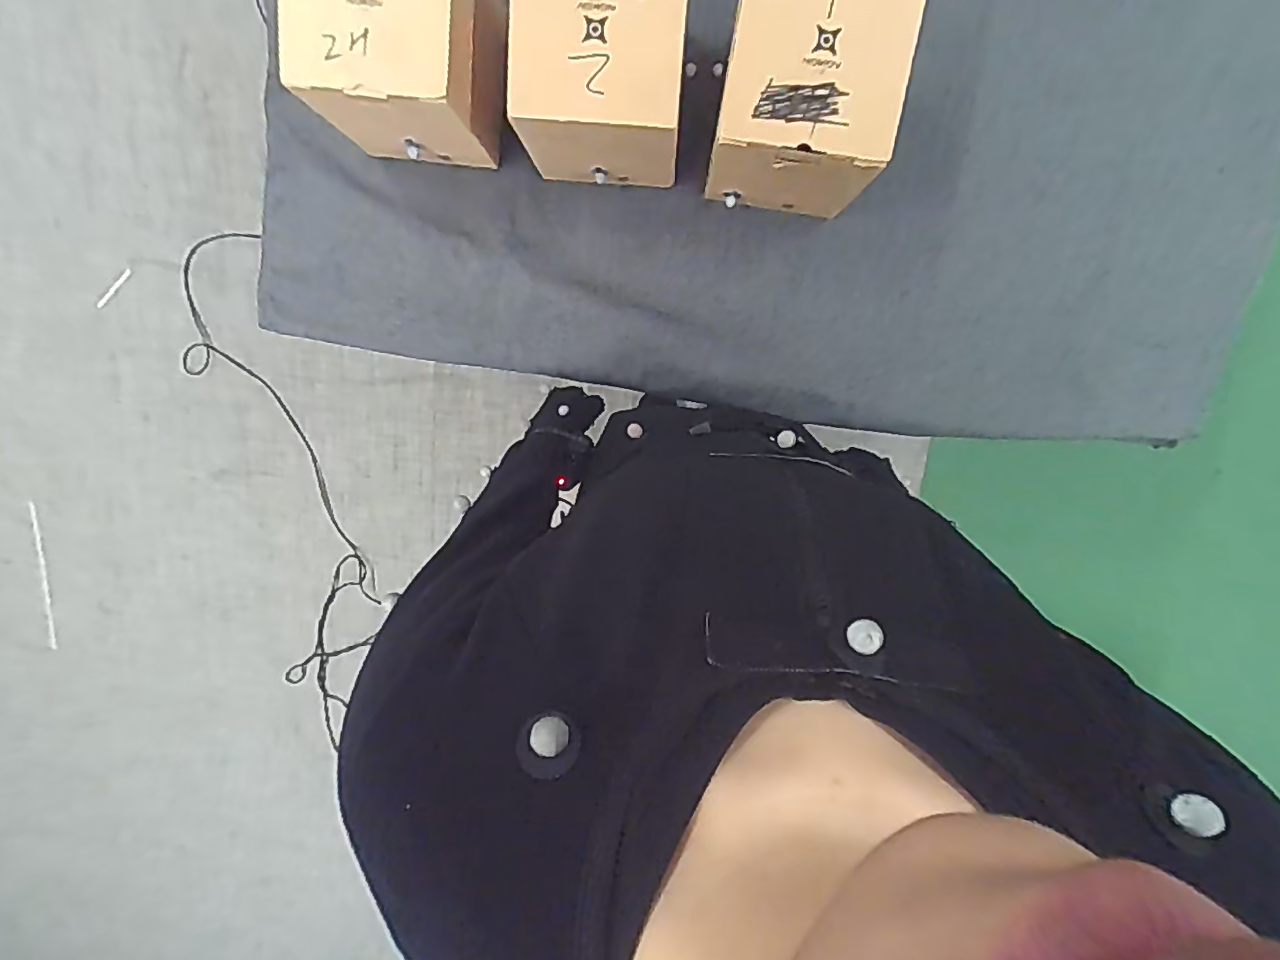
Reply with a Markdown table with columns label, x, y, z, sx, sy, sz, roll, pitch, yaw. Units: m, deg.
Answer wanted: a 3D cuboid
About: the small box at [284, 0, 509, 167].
| label | x | y | z | sx | sy | sz | roll | pitch | yaw |
| --- | --- | --- | --- | --- | --- | --- | --- | --- | --- |
| small box | -0.247 | -0.472 | 0.583 | 0.168 | 0.176 | 0.179 | 7 | 101 | 1 |
